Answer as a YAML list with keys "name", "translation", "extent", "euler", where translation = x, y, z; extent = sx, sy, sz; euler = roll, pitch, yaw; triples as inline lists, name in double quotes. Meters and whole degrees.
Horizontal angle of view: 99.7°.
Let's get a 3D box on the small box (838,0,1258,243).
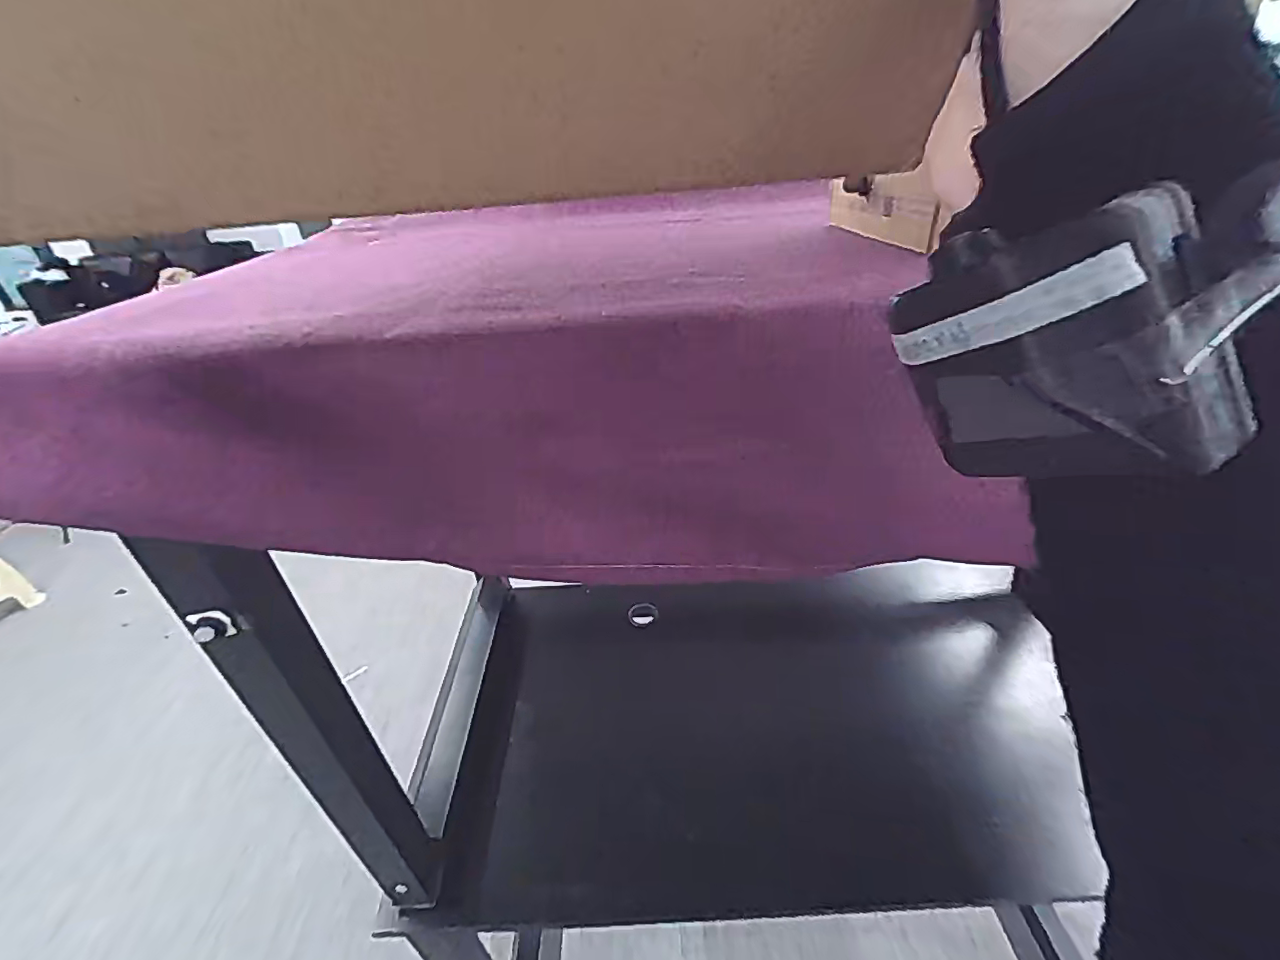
- name: "small box"
  translation: [0.263, -0.276, 0.385]
  extent: [0.179, 0.176, 0.168]
  euler: [-7, 31, -3]
